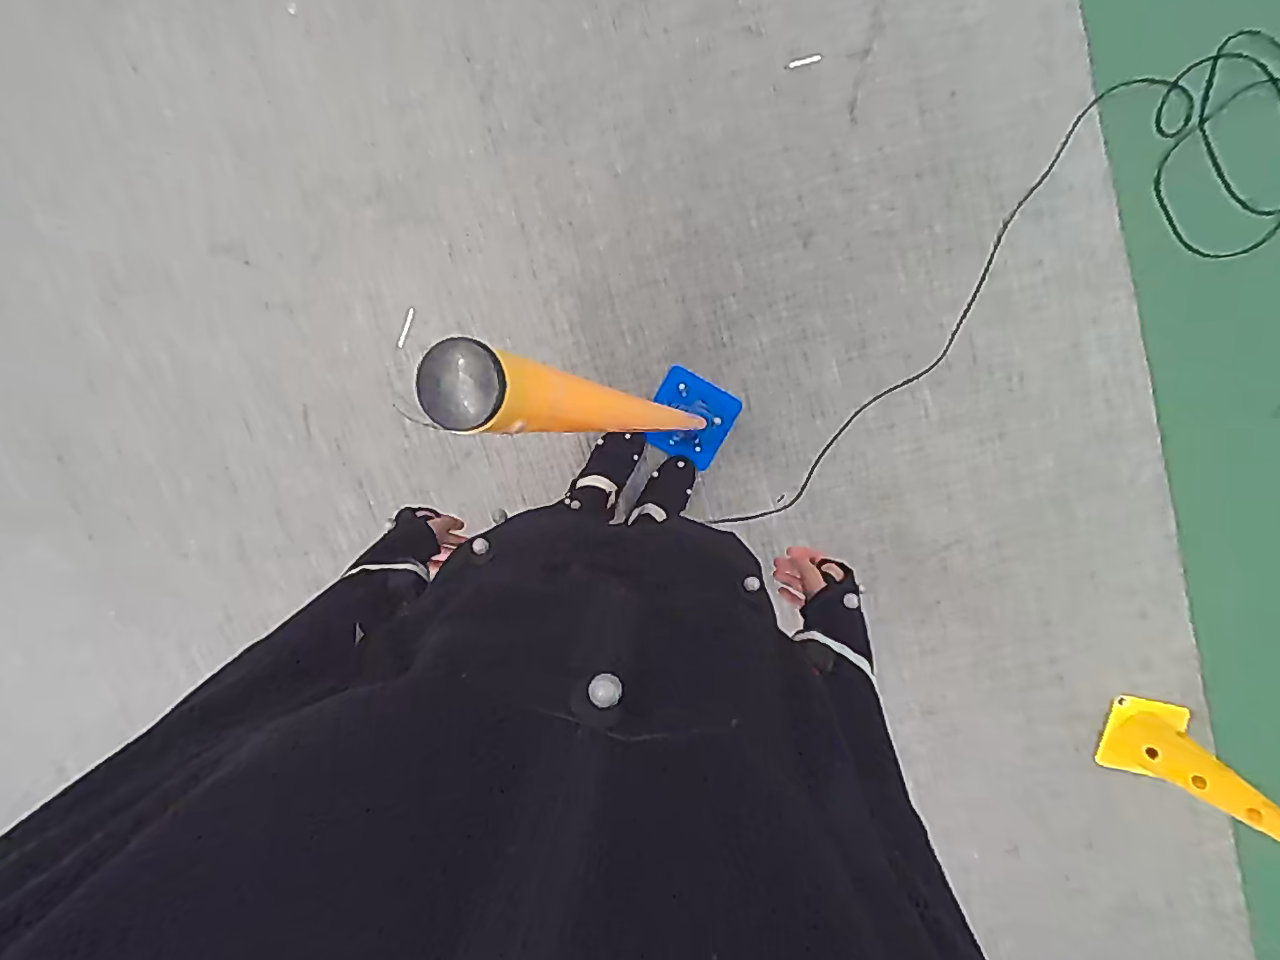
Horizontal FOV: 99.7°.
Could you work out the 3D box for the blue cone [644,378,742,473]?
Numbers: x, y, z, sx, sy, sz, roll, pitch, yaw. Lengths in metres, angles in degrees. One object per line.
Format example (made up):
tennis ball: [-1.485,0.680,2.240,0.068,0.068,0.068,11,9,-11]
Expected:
blue cone: [0.116,-0.106,1.117,0.193,0.380,0.192,28,97,-1]
